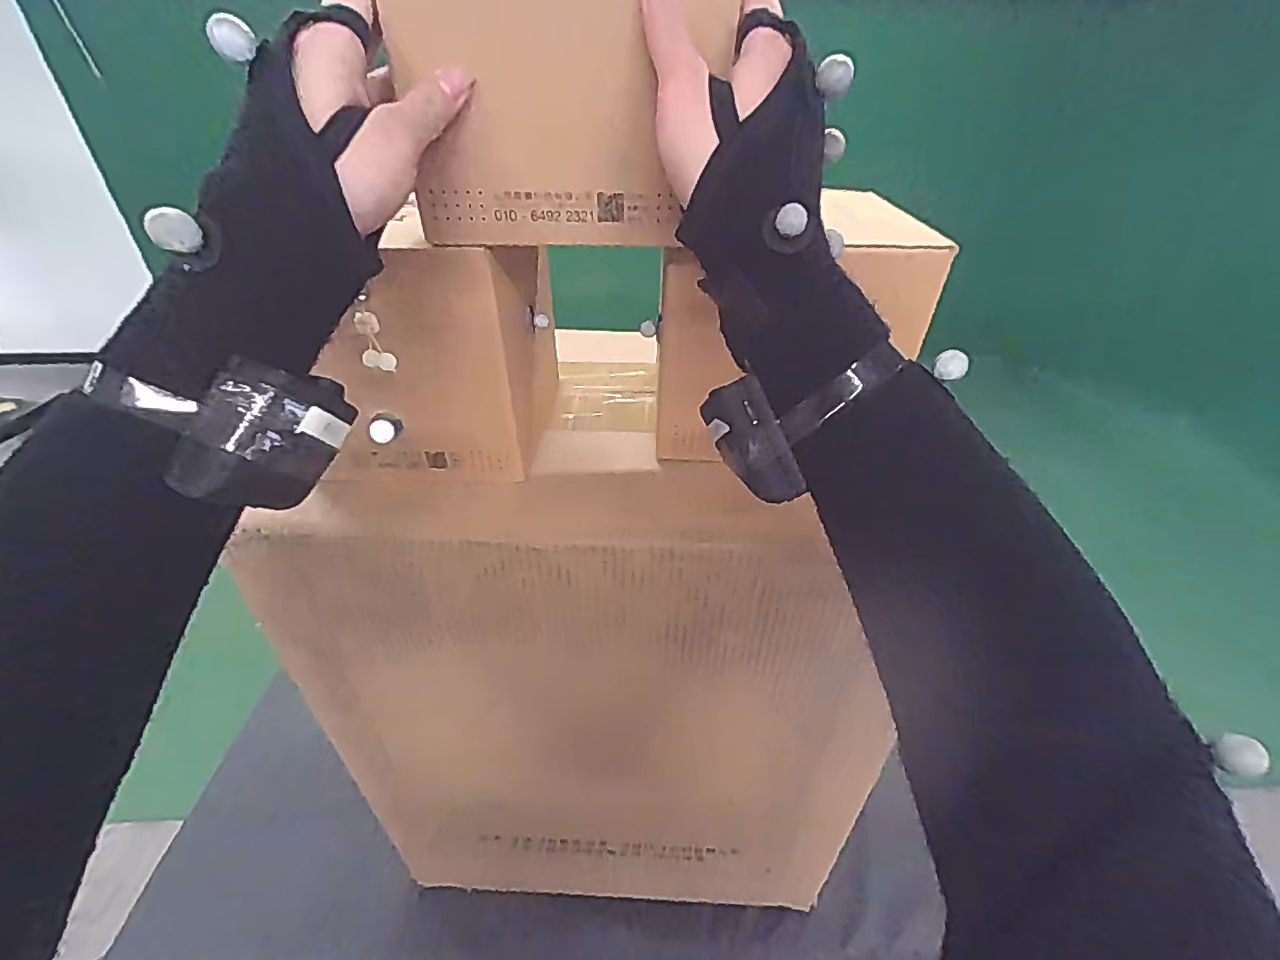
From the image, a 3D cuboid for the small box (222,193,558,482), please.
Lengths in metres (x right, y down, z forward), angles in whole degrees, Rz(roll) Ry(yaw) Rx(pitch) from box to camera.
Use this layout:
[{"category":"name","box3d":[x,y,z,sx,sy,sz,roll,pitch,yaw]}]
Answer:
[{"category":"small box","box3d":[-0.161,-0.117,0.426,0.168,0.176,0.179,0,38,2]}]

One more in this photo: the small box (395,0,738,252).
[{"category":"small box","box3d":[-0.041,-0.251,0.331,0.168,0.176,0.179,-1,37,-4]}]

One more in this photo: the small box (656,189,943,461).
[{"category":"small box","box3d":[0.103,-0.129,0.445,0.179,0.176,0.168,3,38,0]}]
